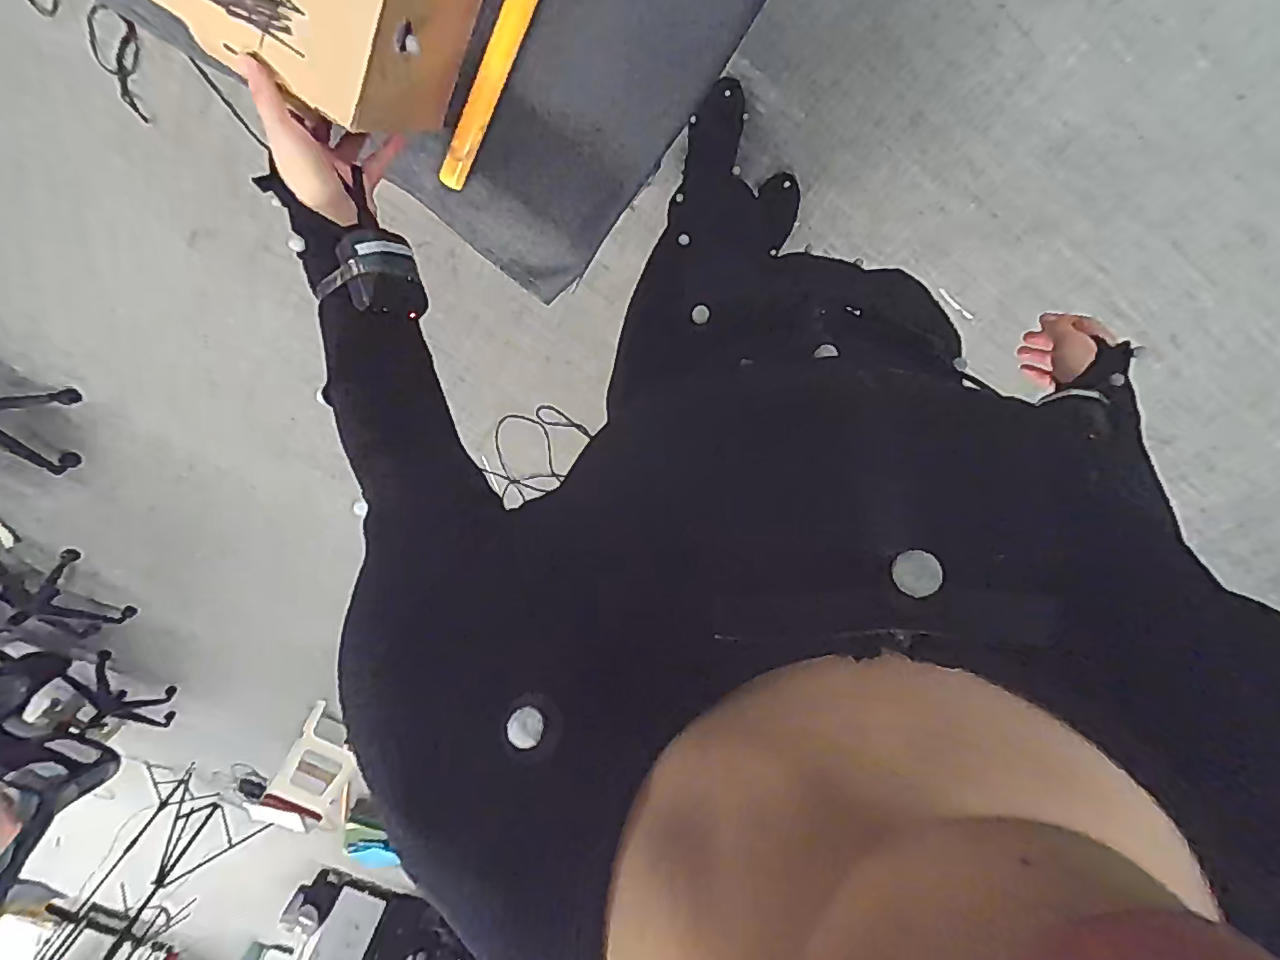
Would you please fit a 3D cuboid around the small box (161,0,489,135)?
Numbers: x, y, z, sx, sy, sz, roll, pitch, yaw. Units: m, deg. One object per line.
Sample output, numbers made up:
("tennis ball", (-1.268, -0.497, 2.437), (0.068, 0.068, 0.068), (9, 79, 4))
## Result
("small box", (-0.238, -0.419, 0.442), (0.168, 0.176, 0.179), (30, 122, -12))
